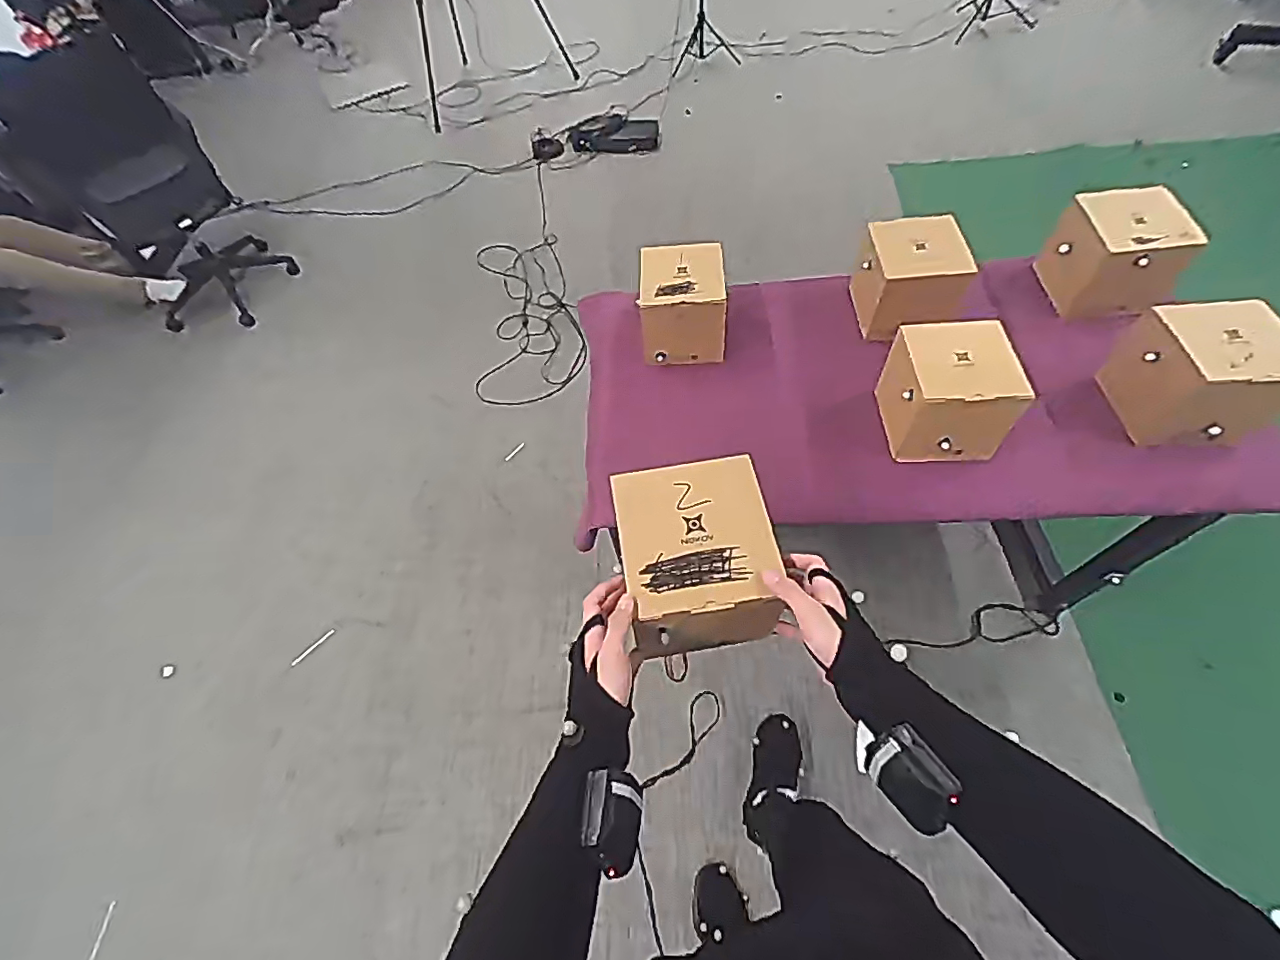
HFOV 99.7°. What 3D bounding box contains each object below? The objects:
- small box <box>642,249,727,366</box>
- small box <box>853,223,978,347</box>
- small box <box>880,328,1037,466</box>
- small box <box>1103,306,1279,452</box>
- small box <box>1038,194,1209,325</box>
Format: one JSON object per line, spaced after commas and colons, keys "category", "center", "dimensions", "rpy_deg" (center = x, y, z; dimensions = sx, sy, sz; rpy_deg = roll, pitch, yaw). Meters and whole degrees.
{"category": "small box", "center": [0.096, -0.352, 1.133], "dimensions": [0.168, 0.176, 0.179], "rpy_deg": [-2, 58, 5]}
{"category": "small box", "center": [0.551, -0.397, 1.110], "dimensions": [0.168, 0.176, 0.179], "rpy_deg": [-2, 59, 6]}
{"category": "small box", "center": [0.539, -0.143, 0.949], "dimensions": [0.168, 0.176, 0.179], "rpy_deg": [-1, 56, 6]}
{"category": "small box", "center": [0.940, -0.166, 0.909], "dimensions": [0.168, 0.176, 0.179], "rpy_deg": [-2, 56, 7]}
{"category": "small box", "center": [0.946, -0.437, 1.082], "dimensions": [0.168, 0.176, 0.179], "rpy_deg": [-4, 59, 7]}
